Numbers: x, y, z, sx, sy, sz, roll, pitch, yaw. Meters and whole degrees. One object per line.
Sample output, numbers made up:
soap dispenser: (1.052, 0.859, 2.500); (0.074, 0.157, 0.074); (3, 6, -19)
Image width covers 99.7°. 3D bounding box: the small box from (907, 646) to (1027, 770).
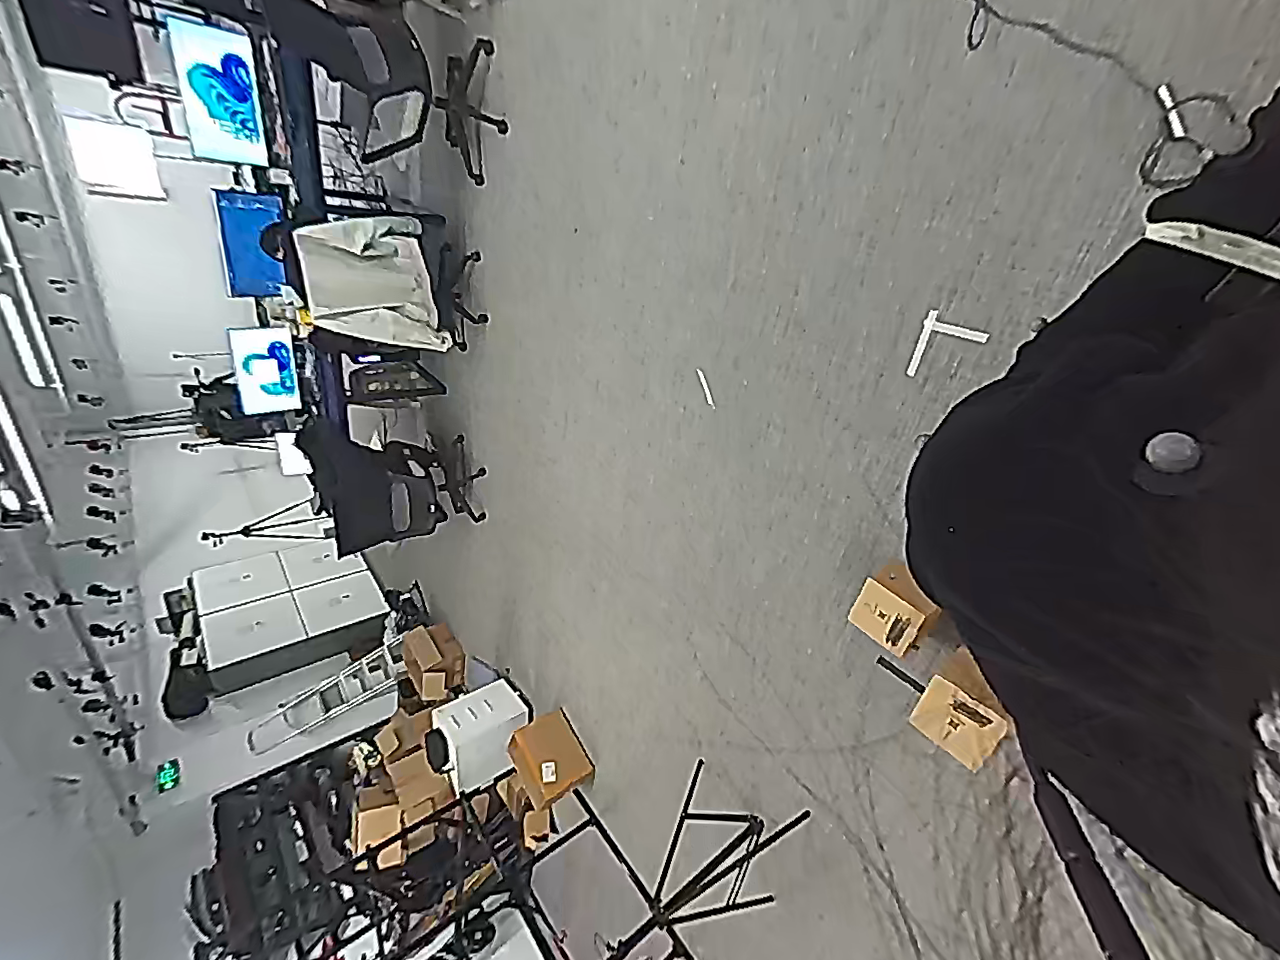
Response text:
small box: (0.772, 0.526, 1.272); (0.168, 0.176, 0.179); (36, 129, 39)
